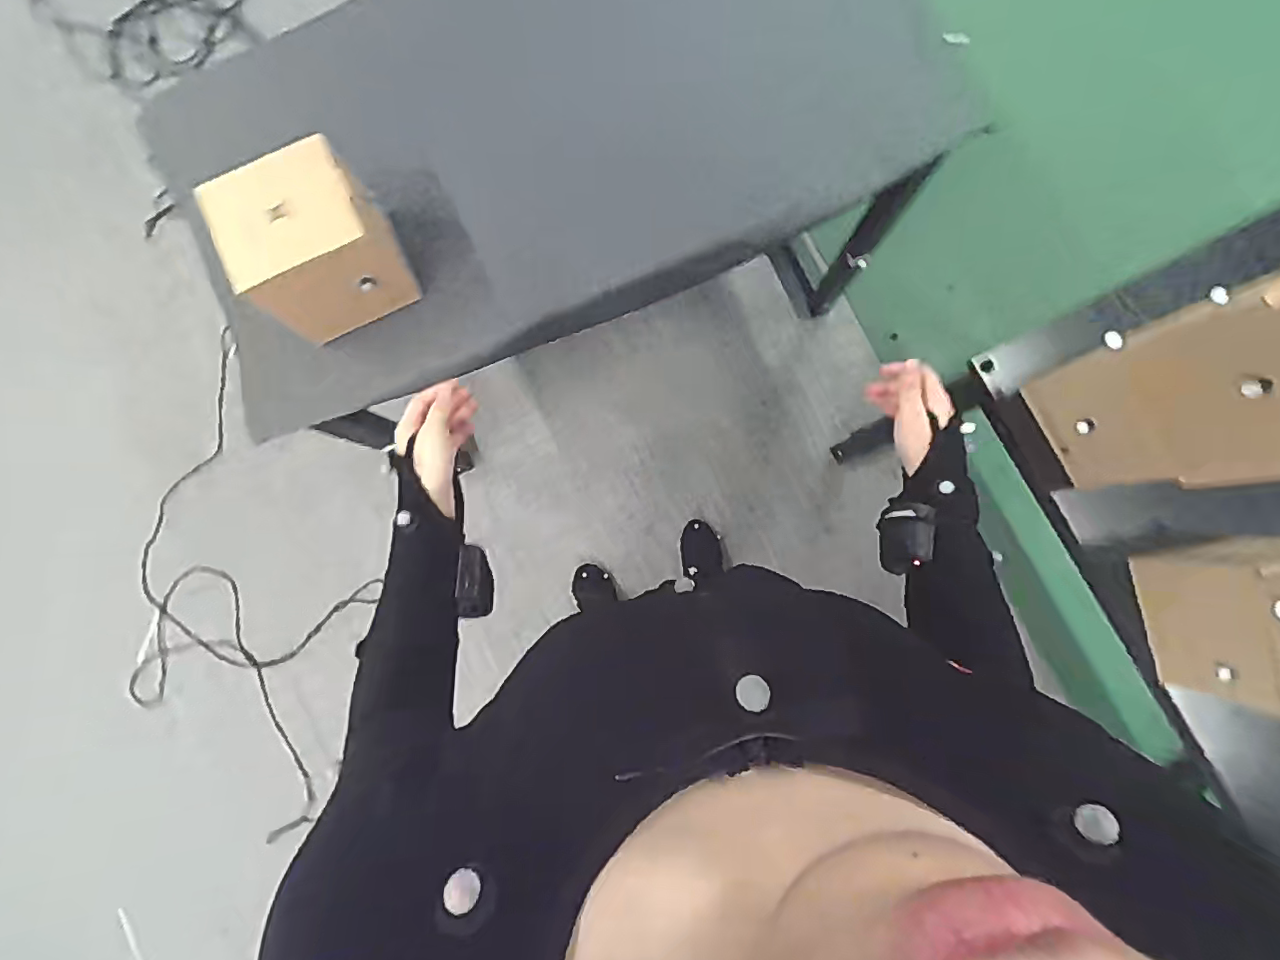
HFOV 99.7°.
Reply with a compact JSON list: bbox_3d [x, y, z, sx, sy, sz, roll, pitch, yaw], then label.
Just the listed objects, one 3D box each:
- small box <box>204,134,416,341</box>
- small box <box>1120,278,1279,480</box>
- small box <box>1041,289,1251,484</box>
[{"bbox_3d":[-0.444,-0.327,0.762,0.179,0.176,0.168,-26,81,0],"label":"small box"},{"bbox_3d":[0.650,-0.109,0.533,0.168,0.176,0.179,-26,84,0],"label":"small box"},{"bbox_3d":[0.668,-0.105,0.695,0.179,0.176,0.168,-26,85,-1],"label":"small box"}]
